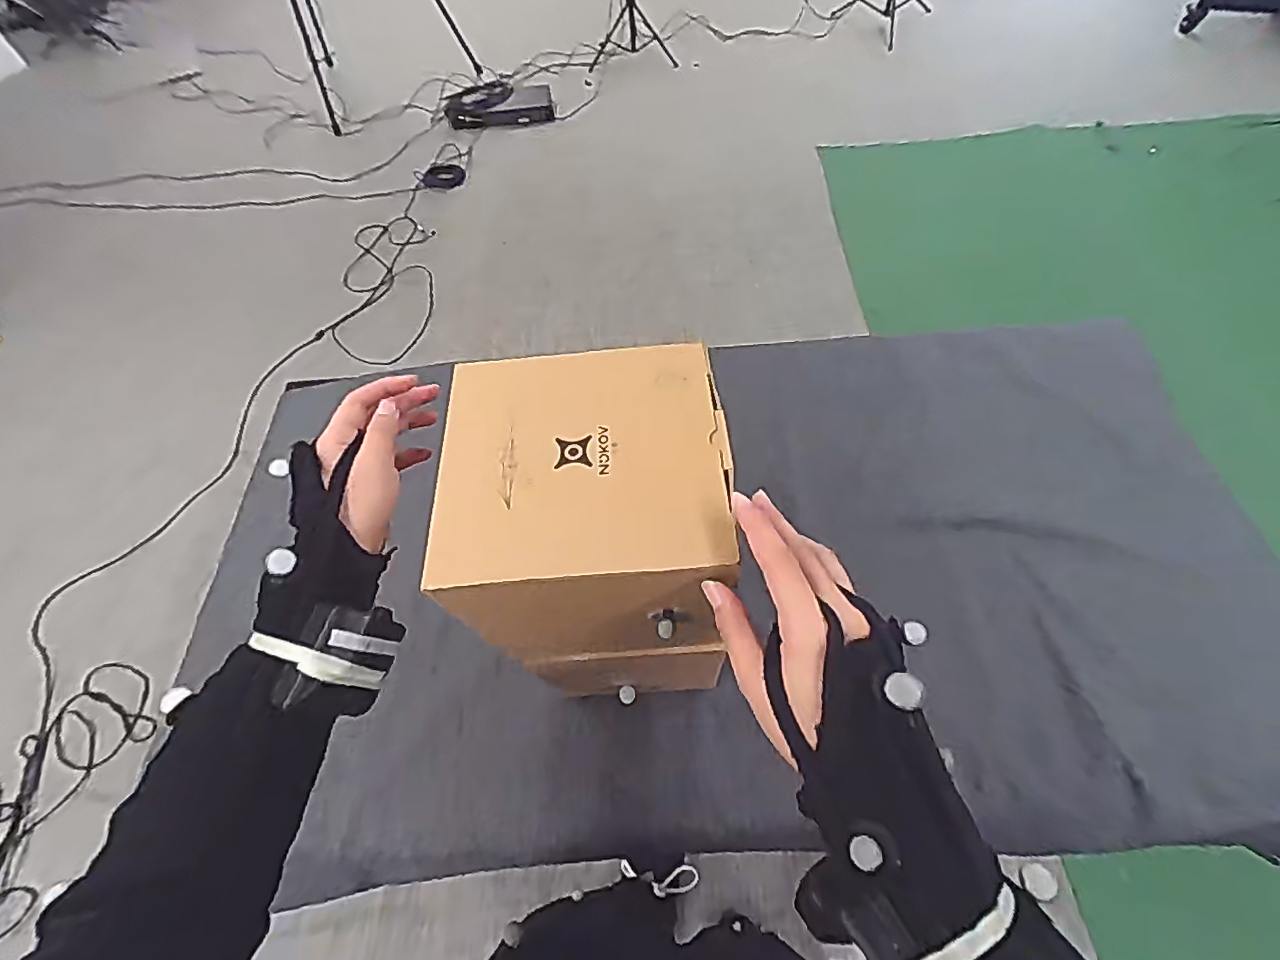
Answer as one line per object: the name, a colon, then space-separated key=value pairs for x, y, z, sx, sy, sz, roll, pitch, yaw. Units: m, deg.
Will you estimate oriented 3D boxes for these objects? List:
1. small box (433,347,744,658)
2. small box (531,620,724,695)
small box: x=-0.028 y=0.026 z=0.405 sx=0.179 sy=0.176 sz=0.168 roll=-6 pitch=57 yaw=2
small box: x=-0.011 y=0.108 z=0.545 sx=0.168 sy=0.176 sz=0.179 roll=-4 pitch=60 yaw=2
